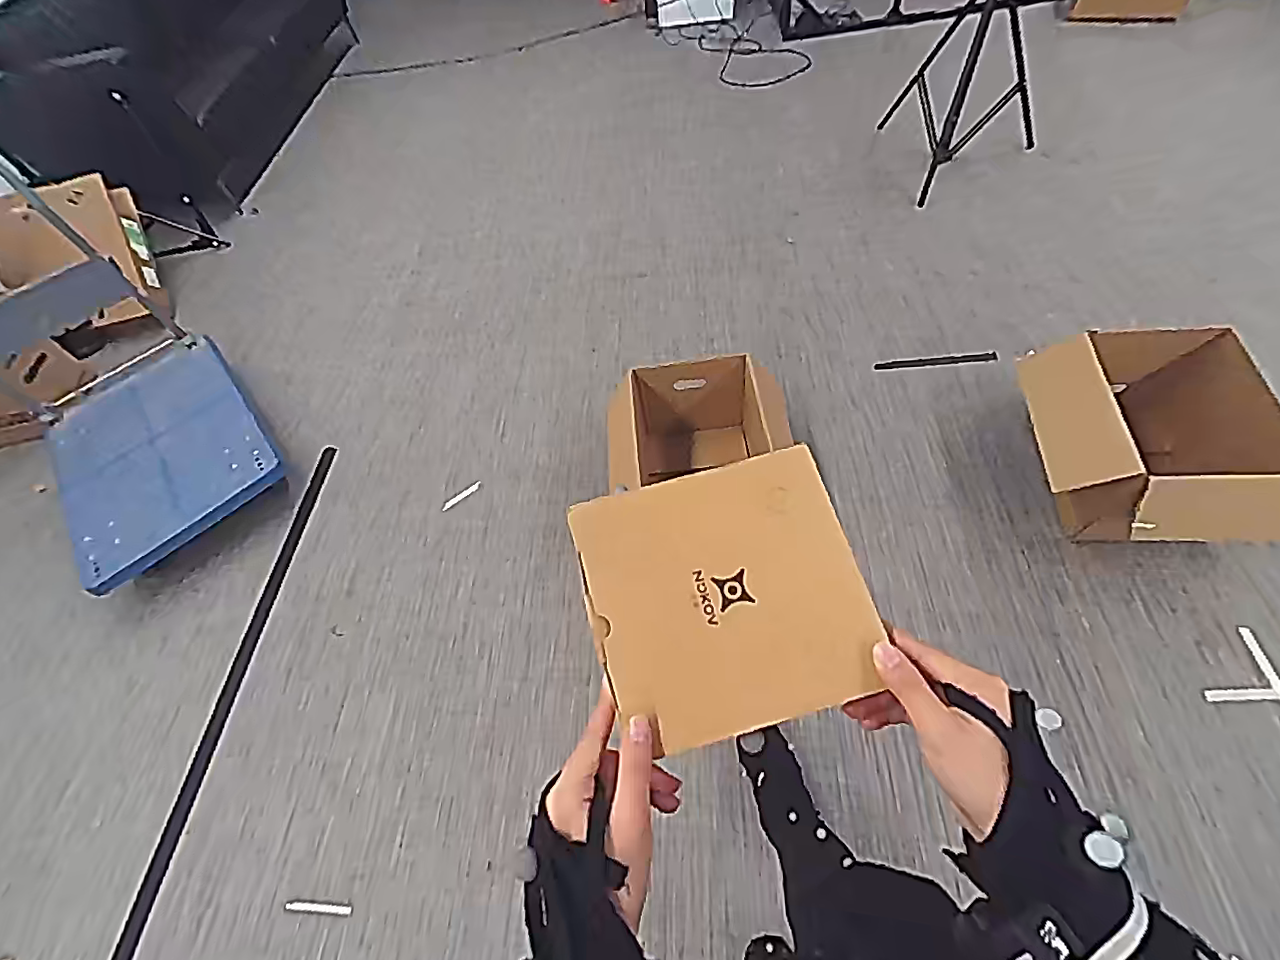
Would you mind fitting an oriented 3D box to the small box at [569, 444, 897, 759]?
[{"bbox_3d":[0.057,0.095,0.424,0.179,0.176,0.168,-16,71,-2],"label":"small box"}]
